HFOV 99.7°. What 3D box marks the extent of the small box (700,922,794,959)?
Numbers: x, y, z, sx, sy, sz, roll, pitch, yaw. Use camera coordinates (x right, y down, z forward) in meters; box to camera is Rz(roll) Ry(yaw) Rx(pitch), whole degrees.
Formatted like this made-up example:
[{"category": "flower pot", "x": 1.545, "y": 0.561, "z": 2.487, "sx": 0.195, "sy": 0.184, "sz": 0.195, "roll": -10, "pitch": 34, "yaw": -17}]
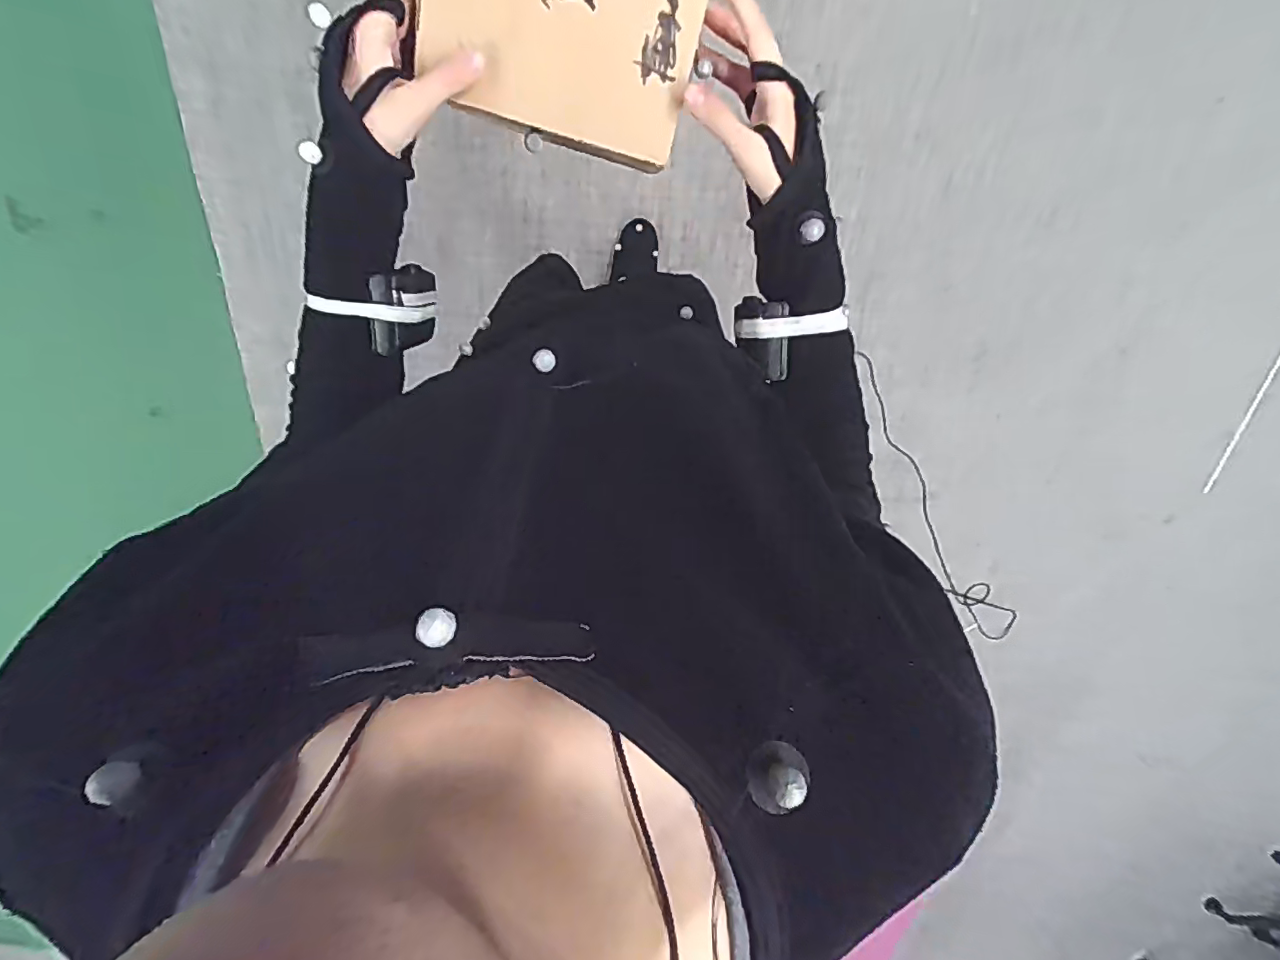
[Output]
[{"category": "small box", "x": 0.244, "y": 1.131, "z": 1.204, "sx": 0.179, "sy": 0.176, "sz": 0.168, "roll": 15, "pitch": 114, "yaw": -6}]
